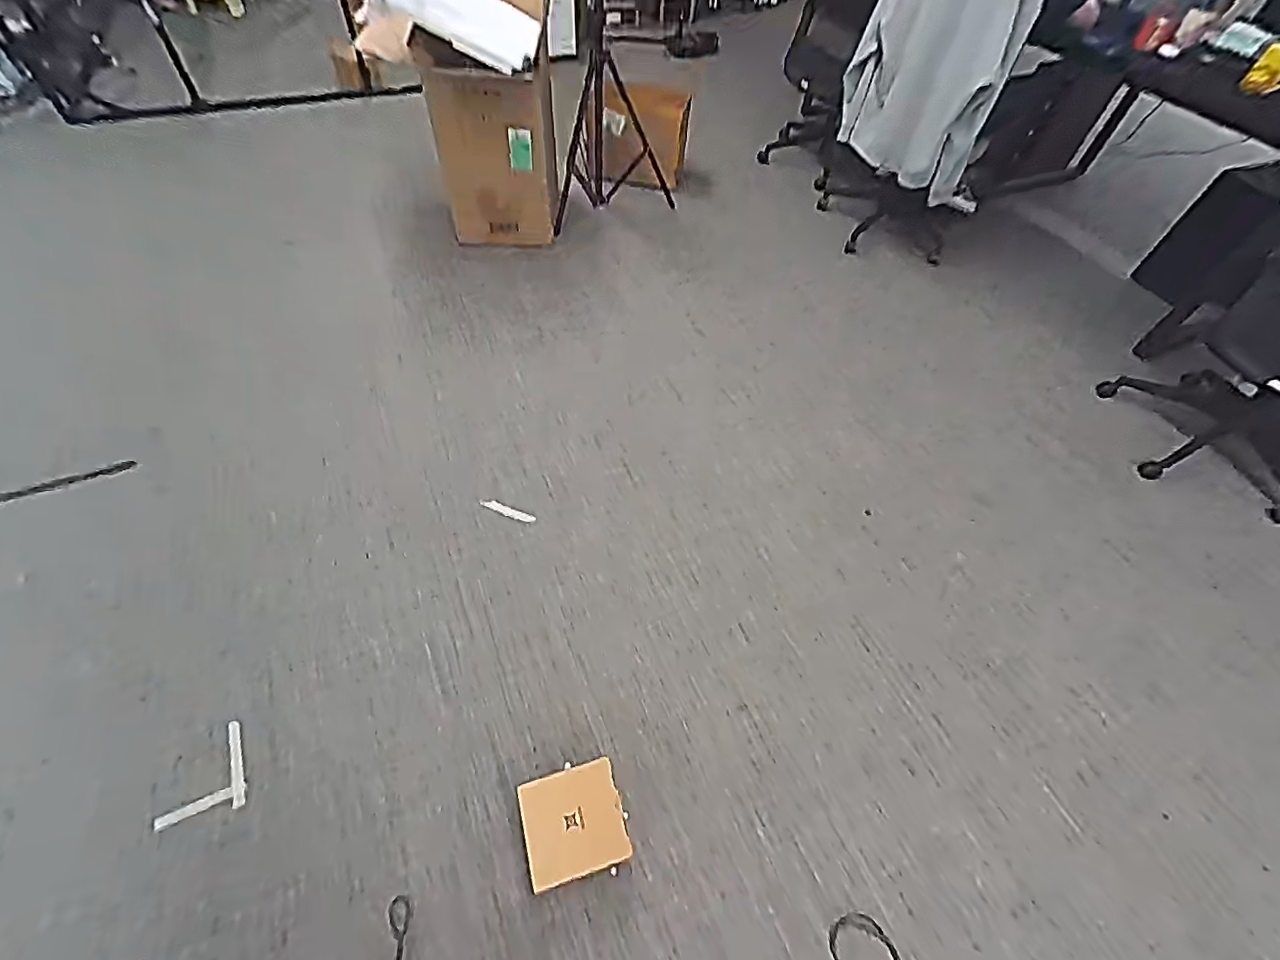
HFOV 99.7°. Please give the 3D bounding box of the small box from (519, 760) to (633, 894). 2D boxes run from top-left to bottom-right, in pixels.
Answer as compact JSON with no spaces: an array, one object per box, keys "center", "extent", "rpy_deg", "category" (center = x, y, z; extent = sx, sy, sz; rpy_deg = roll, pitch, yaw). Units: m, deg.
[{"center":[-0.119,0.657,1.021],"extent":[0.179,0.176,0.168],"rpy_deg":[-13,55,-13],"category":"small box"}]
